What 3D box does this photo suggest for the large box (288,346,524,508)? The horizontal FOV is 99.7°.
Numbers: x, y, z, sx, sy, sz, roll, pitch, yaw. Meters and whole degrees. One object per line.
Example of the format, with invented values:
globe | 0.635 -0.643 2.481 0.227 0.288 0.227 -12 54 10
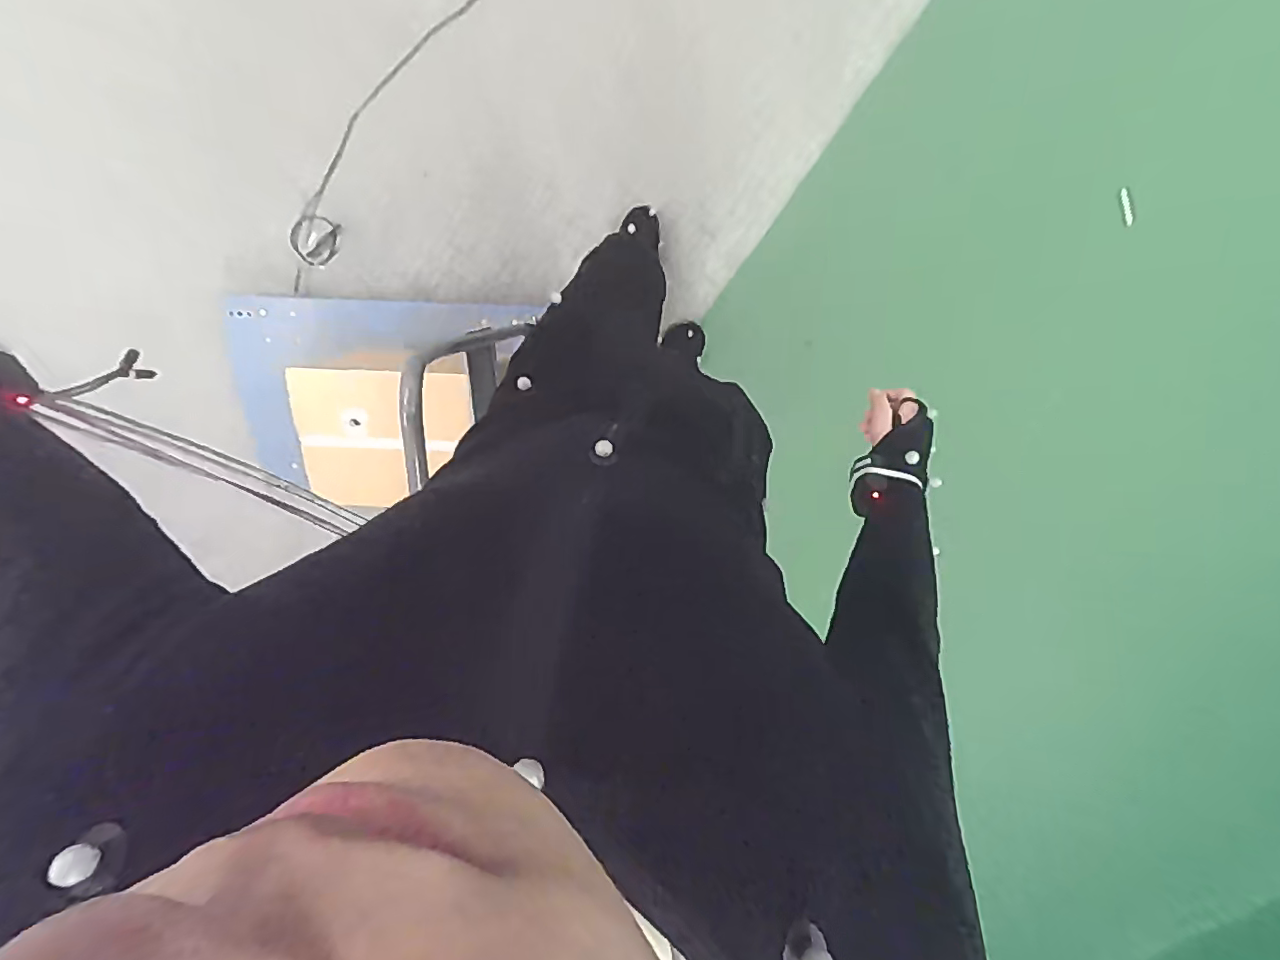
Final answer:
large box | -0.524 -0.143 1.299 0.408 0.320 0.320 3 111 4
